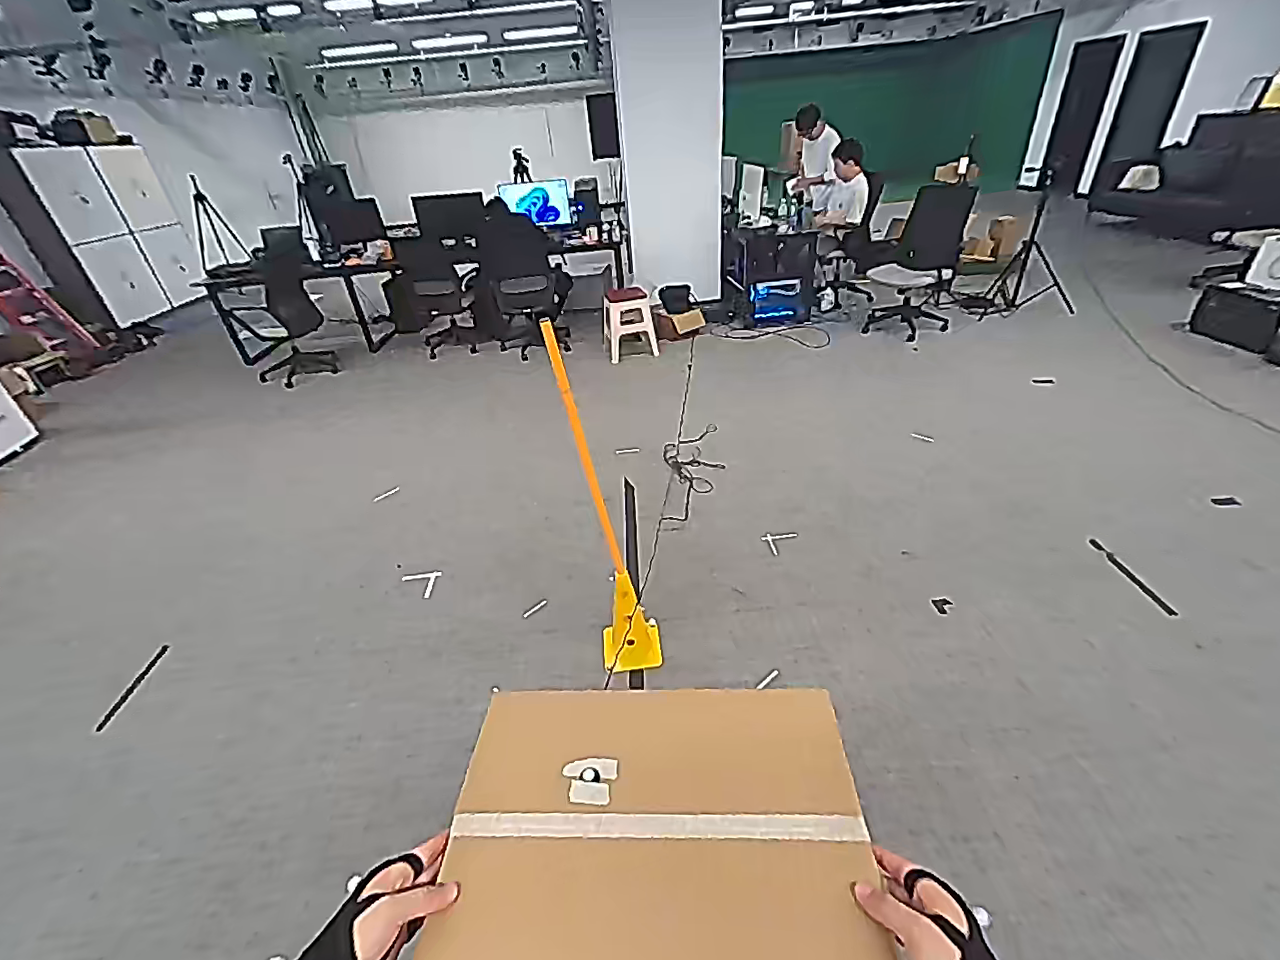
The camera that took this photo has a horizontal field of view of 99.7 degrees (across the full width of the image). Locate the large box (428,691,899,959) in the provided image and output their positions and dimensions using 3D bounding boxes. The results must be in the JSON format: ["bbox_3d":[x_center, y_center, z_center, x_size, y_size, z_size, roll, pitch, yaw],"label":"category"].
[{"bbox_3d":[0.032,0.473,0.613,0.408,0.320,0.320,-4,32,5],"label":"large box"}]
